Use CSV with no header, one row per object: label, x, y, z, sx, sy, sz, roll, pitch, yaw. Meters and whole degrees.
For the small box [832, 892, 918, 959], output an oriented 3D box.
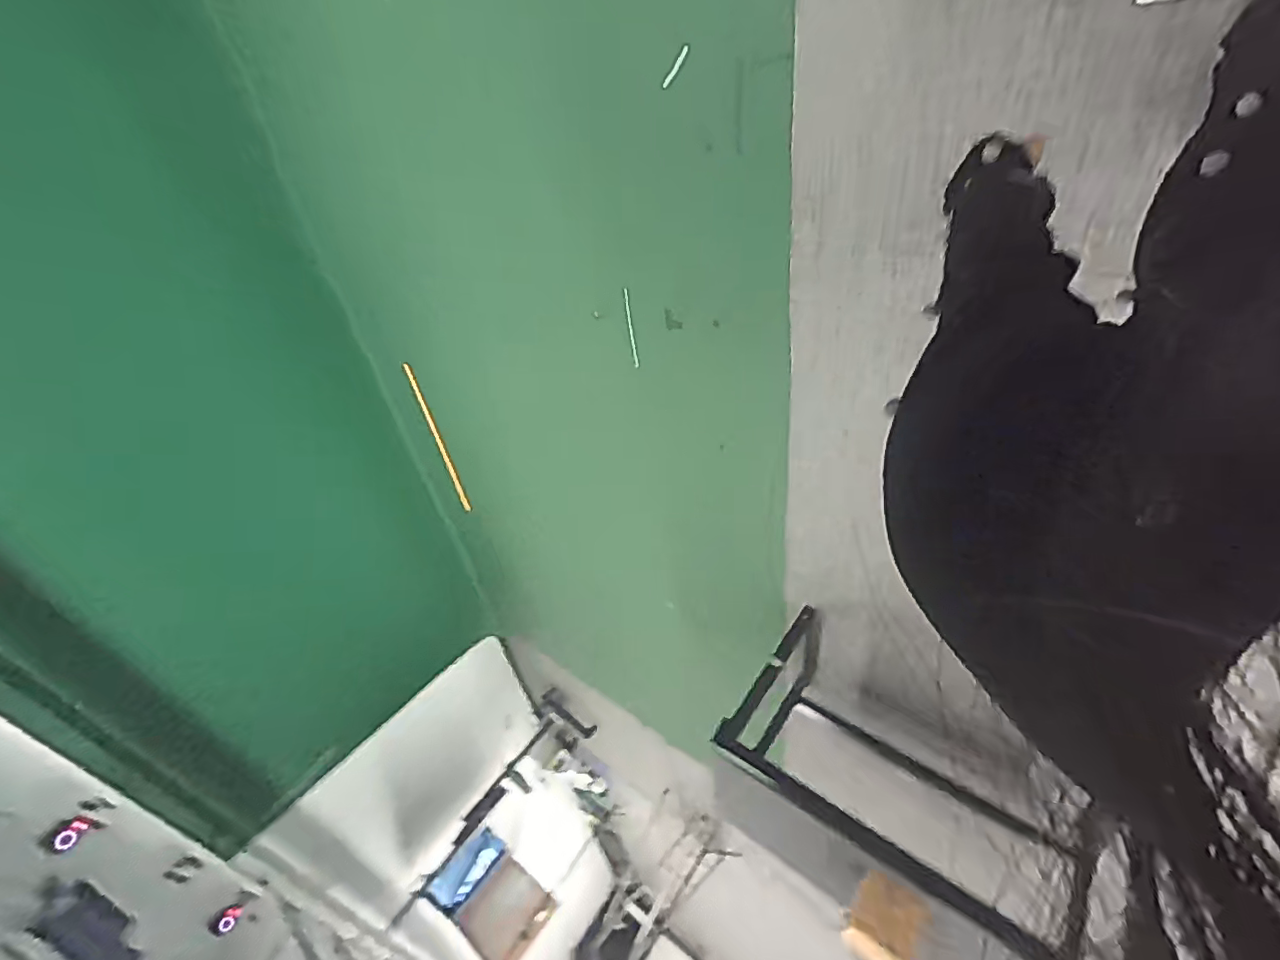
small box,0.682,1.353,1.568,0.168,0.176,0.179,25,137,30
